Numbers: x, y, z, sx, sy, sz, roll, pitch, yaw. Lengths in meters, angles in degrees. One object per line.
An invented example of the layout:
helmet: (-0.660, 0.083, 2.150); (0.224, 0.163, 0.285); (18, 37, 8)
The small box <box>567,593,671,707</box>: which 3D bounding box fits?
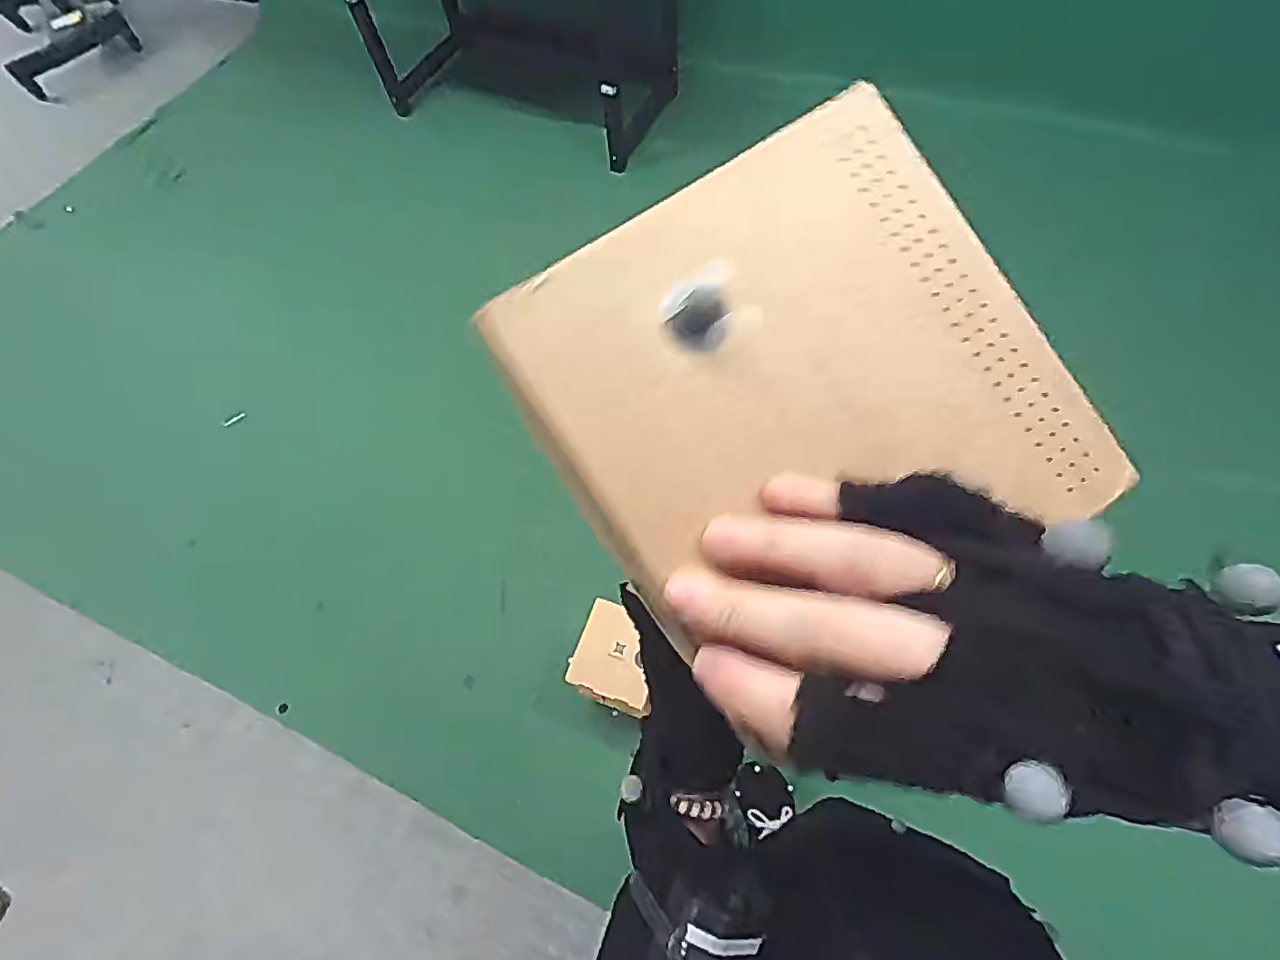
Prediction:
small box: (-0.038, 0.365, 1.151); (0.168, 0.176, 0.179); (16, 67, 12)
